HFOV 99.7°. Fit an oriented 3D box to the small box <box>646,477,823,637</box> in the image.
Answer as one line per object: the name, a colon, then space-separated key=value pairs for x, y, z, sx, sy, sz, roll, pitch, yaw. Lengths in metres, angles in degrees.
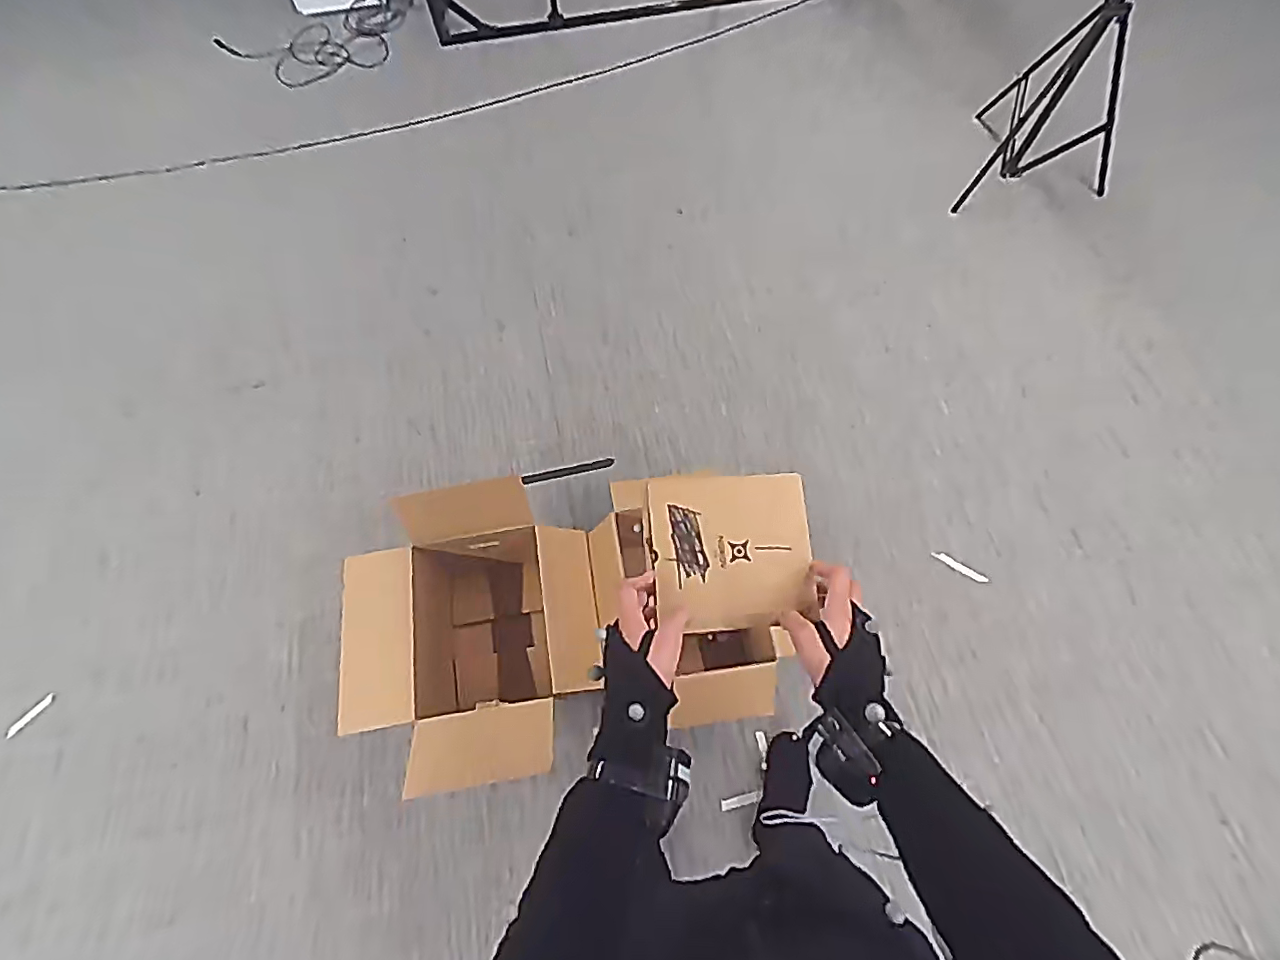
small box: x=0.097 y=0.098 z=0.650 sx=0.179 sy=0.176 sz=0.168 roll=-3 pitch=77 yaw=-2
